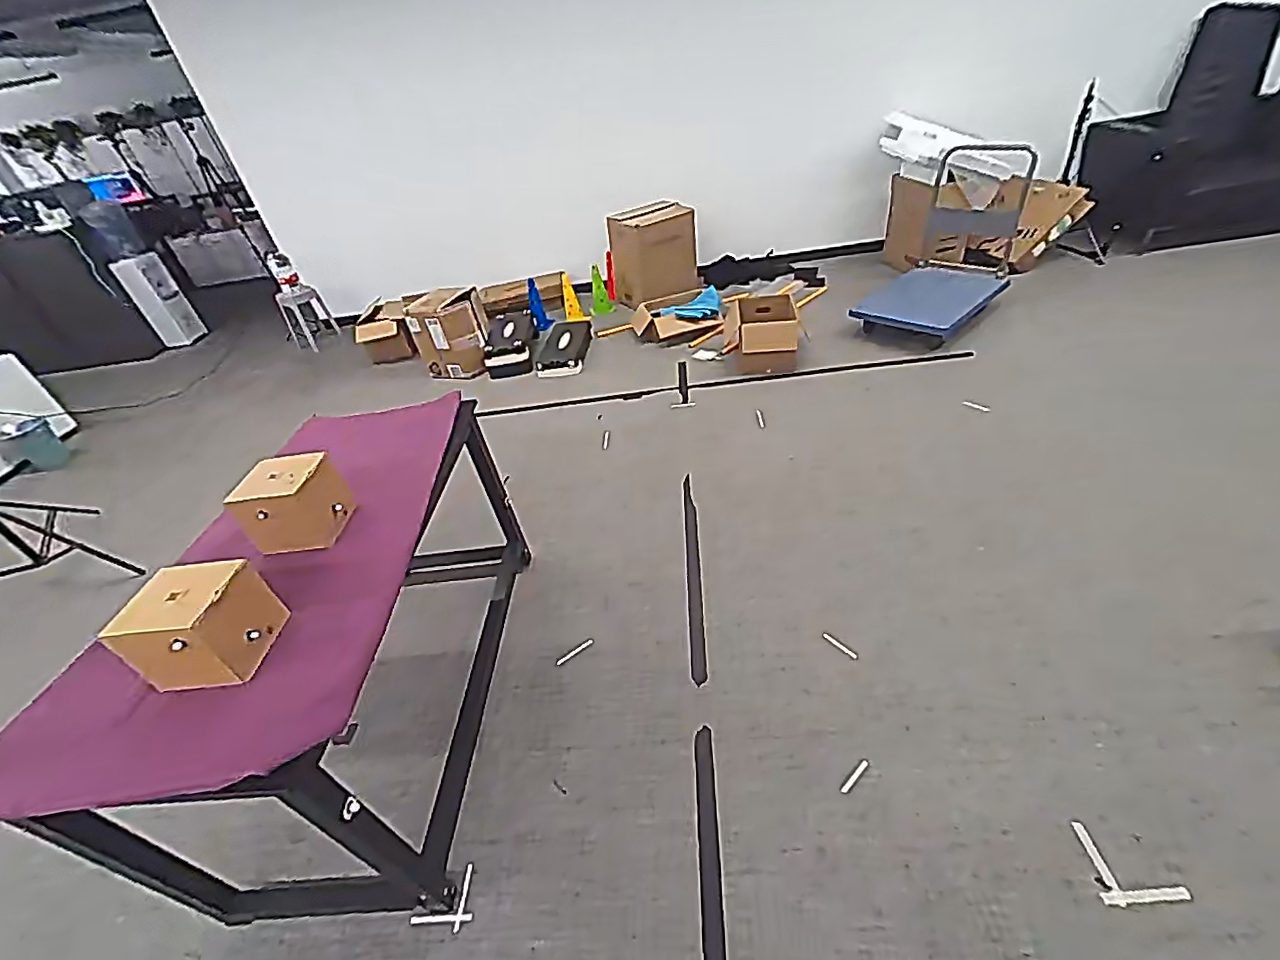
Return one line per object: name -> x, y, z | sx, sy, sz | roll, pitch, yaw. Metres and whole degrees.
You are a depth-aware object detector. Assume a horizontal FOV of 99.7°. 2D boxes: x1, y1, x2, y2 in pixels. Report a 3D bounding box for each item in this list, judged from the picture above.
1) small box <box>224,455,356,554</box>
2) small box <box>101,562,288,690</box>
small box -> -0.830, 0.062, 1.304 | 0.179, 0.176, 0.168 | -7, 38, 5
small box -> -0.826, 0.279, 1.025 | 0.179, 0.176, 0.168 | -7, 37, 3
